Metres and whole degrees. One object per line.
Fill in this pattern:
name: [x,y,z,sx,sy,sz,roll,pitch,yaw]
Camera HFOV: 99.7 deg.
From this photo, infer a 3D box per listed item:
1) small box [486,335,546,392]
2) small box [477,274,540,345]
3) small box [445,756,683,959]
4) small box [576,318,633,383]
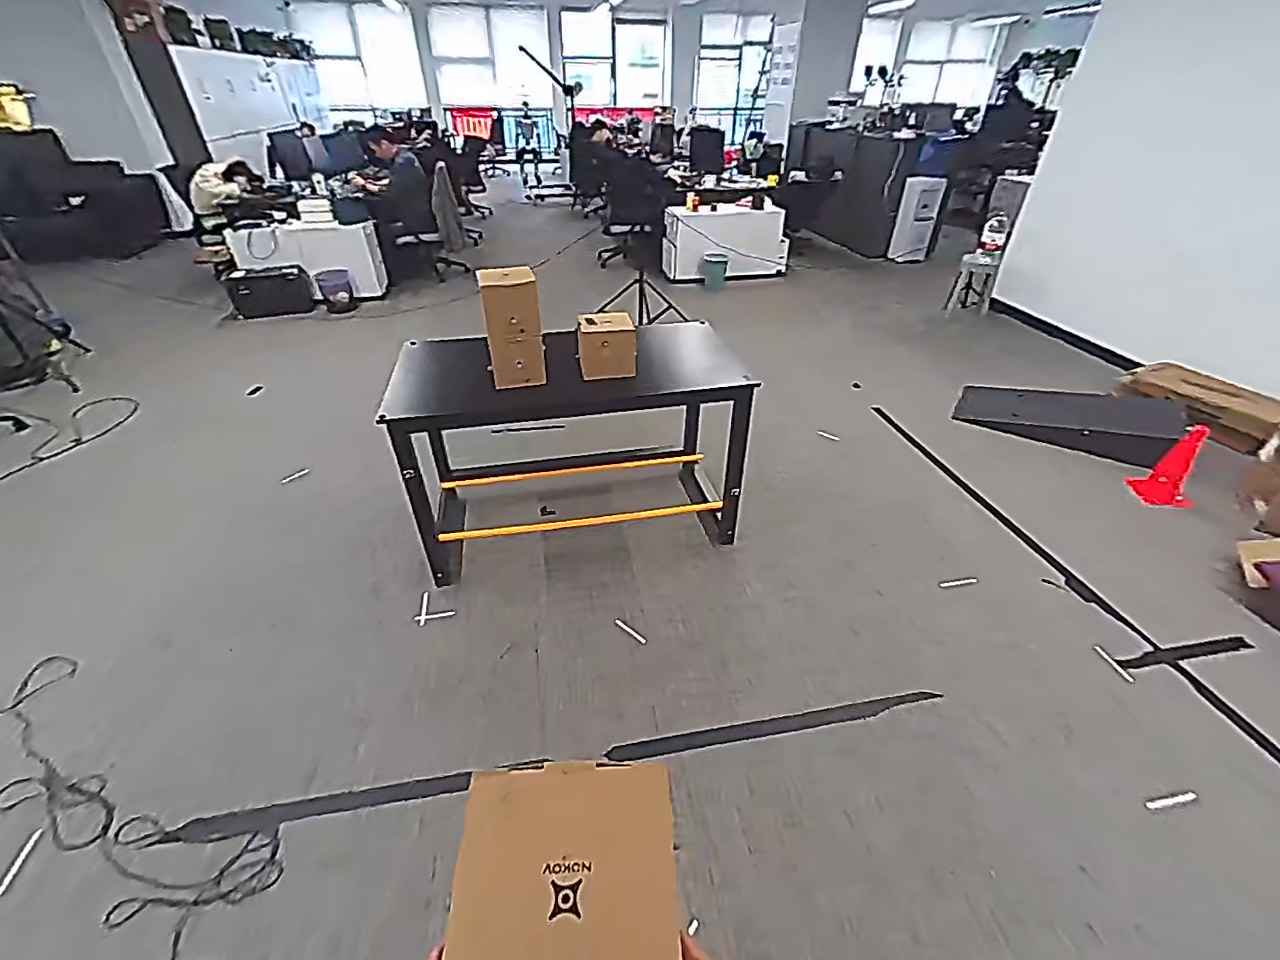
small box: [-0.414,-0.402,1.803,0.168,0.176,0.179,-10,37,-13]
small box: [-0.415,-0.540,1.709,0.168,0.176,0.179,-11,37,-14]
small box: [-0.057,0.357,0.457,0.168,0.176,0.179,-1,44,-4]
small box: [-0.121,-0.441,1.853,0.179,0.176,0.168,-6,36,-9]
